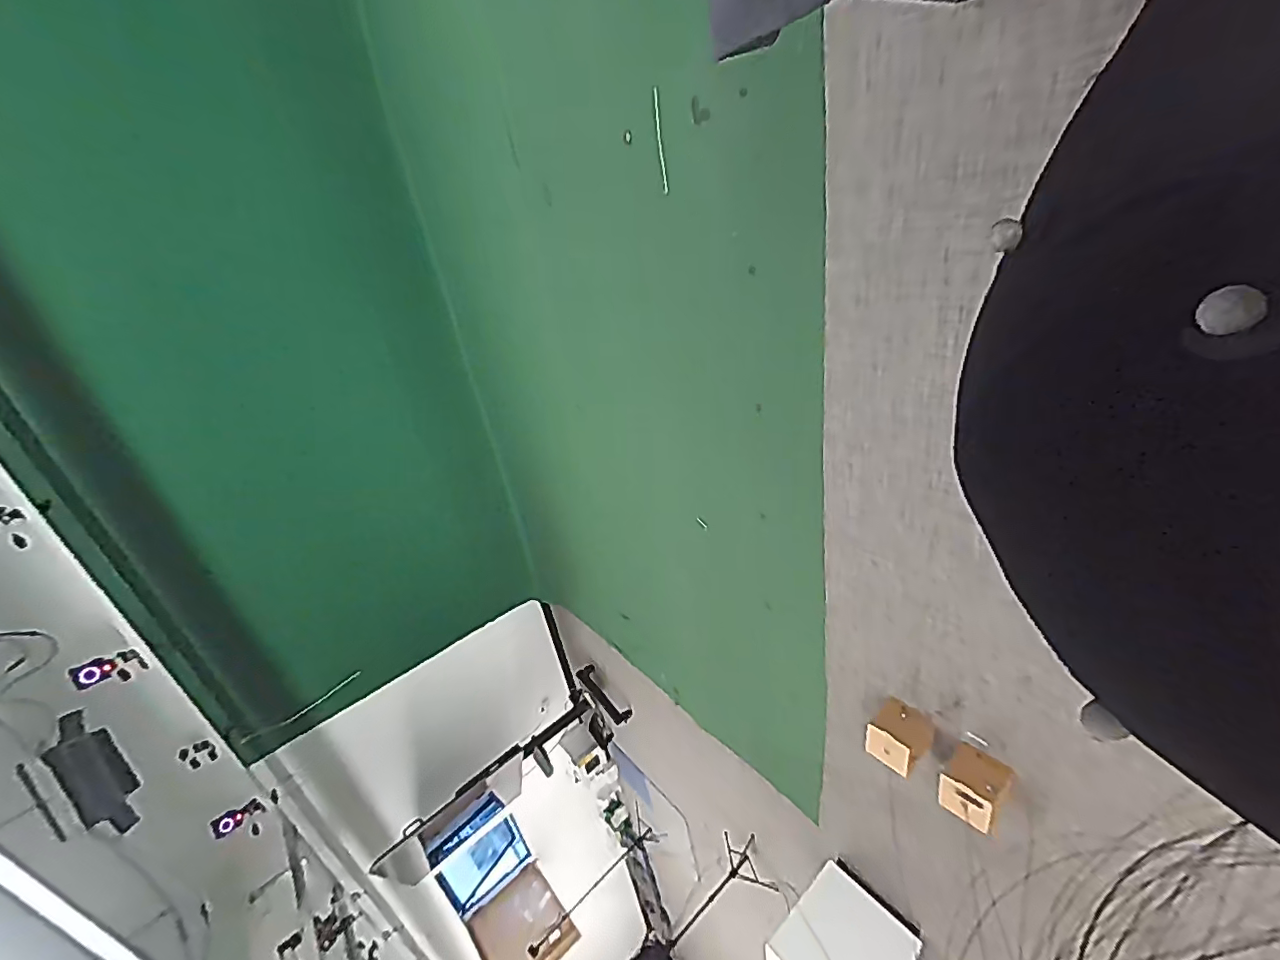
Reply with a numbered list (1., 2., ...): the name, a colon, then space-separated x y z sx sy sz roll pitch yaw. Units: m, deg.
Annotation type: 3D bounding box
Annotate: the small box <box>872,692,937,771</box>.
1. small box: 1.025 0.968 2.092 0.168 0.176 0.179 25 133 46
